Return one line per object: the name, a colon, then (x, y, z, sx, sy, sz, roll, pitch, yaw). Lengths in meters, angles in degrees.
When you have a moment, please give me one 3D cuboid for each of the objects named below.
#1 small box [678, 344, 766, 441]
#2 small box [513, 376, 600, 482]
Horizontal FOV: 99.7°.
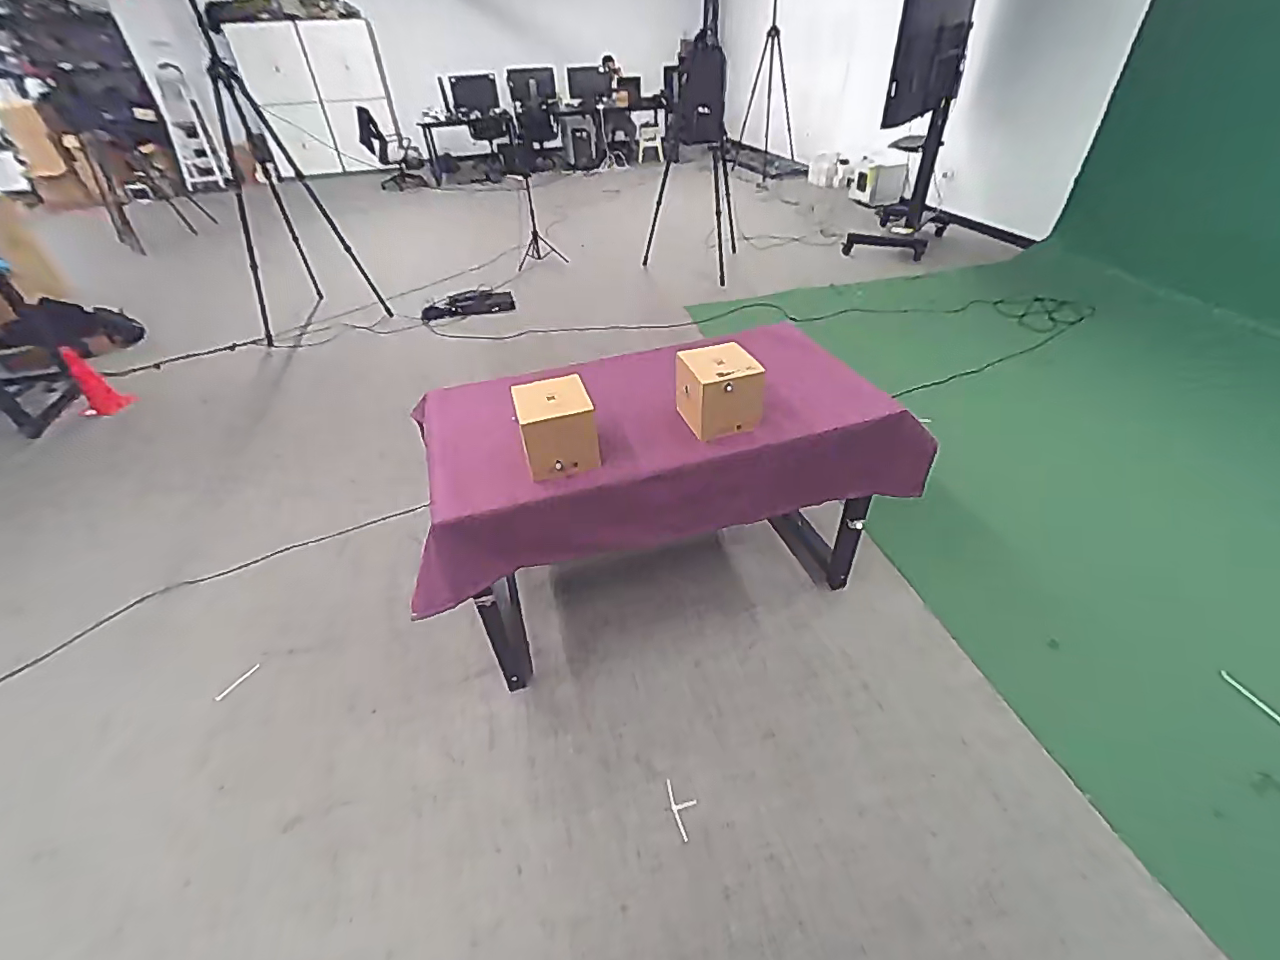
small box: (0.200, -0.223, 1.373, 0.168, 0.176, 0.179, -15, 40, -11)
small box: (-0.197, -0.122, 1.282, 0.168, 0.176, 0.179, -13, 41, -11)
